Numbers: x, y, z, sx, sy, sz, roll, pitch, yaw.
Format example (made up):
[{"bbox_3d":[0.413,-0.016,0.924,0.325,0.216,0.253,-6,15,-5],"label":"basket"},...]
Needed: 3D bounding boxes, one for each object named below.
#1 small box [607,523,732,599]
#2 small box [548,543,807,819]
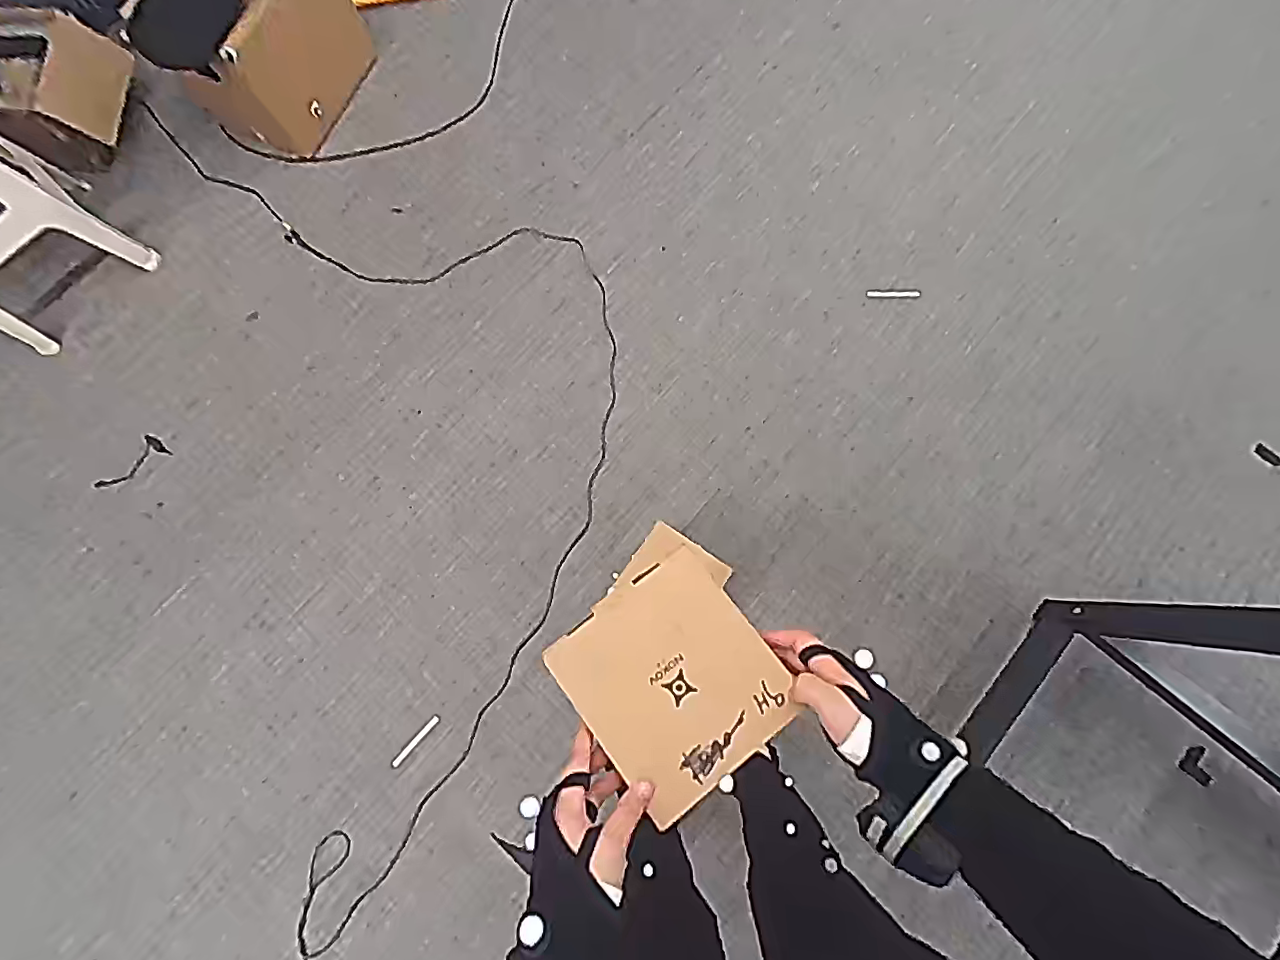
[{"bbox_3d":[0.055,0.208,1.046,0.168,0.176,0.179,34,80,7],"label":"small box"},{"bbox_3d":[0.034,0.192,0.553,0.168,0.176,0.179,-38,76,-7],"label":"small box"}]
